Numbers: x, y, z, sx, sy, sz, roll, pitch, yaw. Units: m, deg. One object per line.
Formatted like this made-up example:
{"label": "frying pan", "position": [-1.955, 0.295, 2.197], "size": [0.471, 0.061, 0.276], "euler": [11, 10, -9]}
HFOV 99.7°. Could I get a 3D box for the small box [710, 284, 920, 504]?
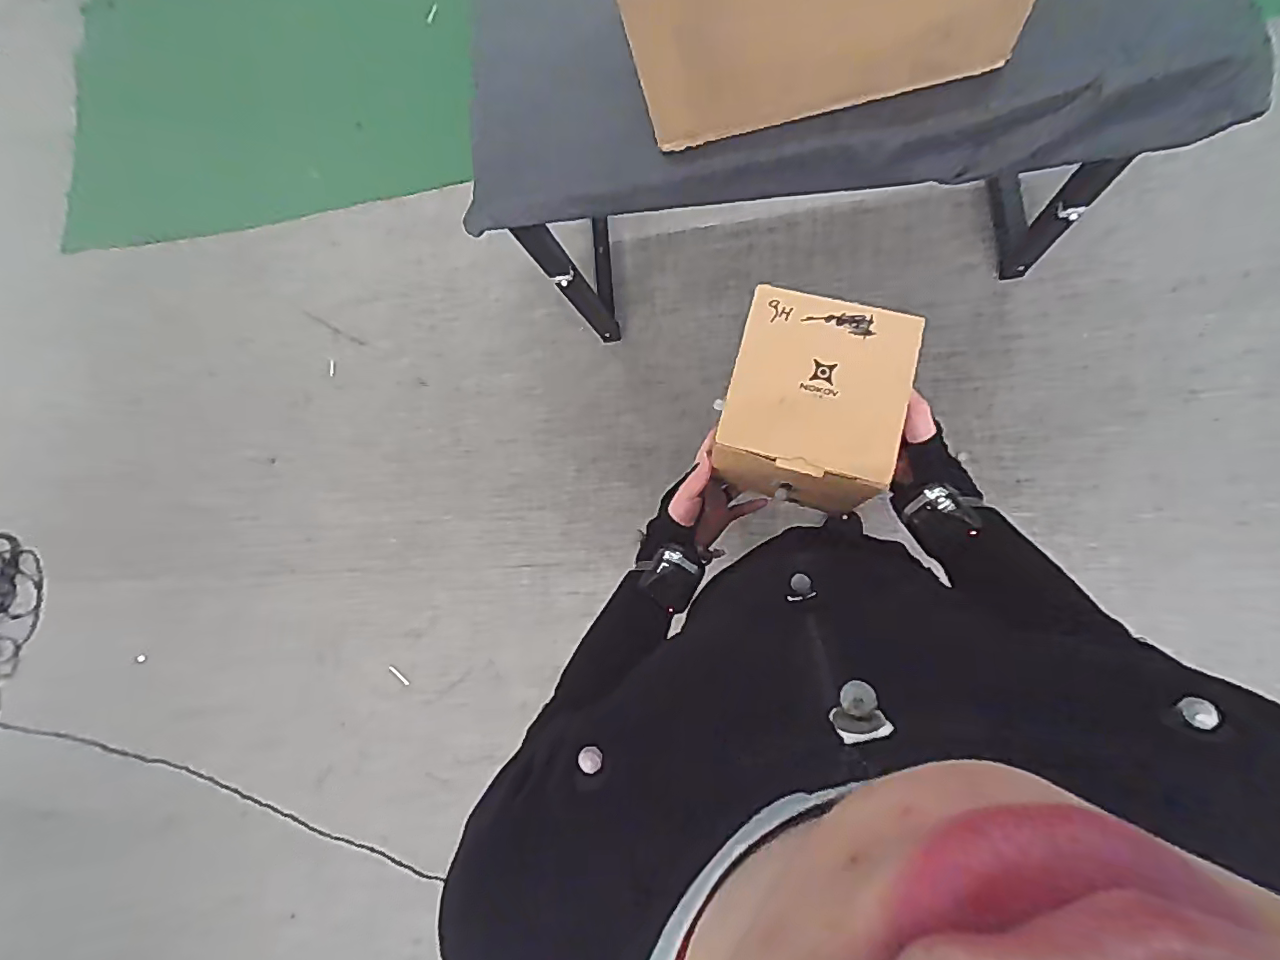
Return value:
{"label": "small box", "position": [0.177, -0.081, 0.599], "size": [0.168, 0.176, 0.179], "euler": [15, 81, 7]}
